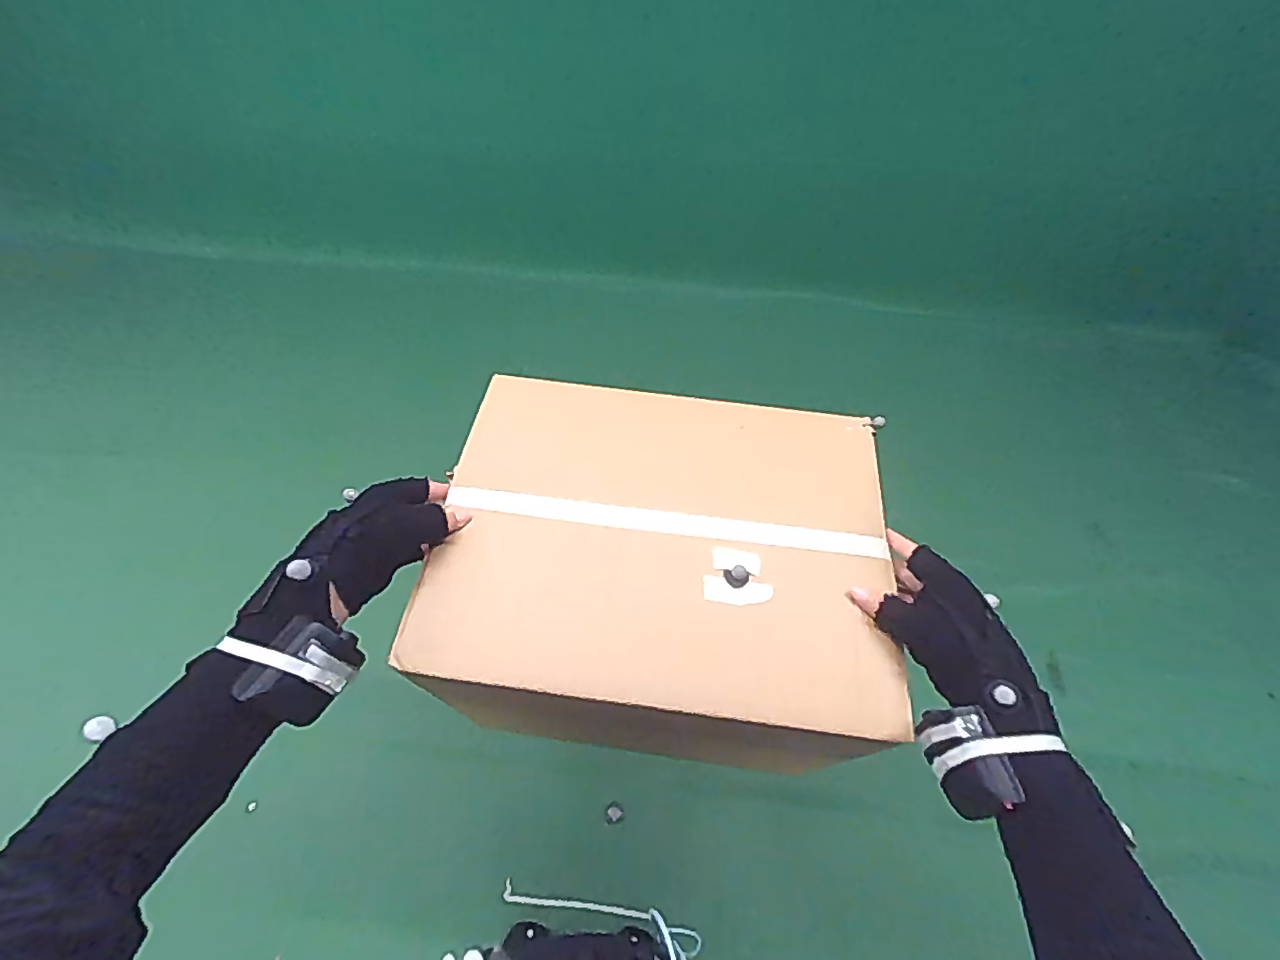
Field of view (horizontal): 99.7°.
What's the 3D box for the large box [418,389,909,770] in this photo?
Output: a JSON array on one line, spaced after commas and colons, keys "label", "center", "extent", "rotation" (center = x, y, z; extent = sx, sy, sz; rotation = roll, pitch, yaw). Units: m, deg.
[{"label": "large box", "center": [0.025, 0.128, 0.632], "extent": [0.408, 0.320, 0.320], "rotation": [8, 57, 2]}]
